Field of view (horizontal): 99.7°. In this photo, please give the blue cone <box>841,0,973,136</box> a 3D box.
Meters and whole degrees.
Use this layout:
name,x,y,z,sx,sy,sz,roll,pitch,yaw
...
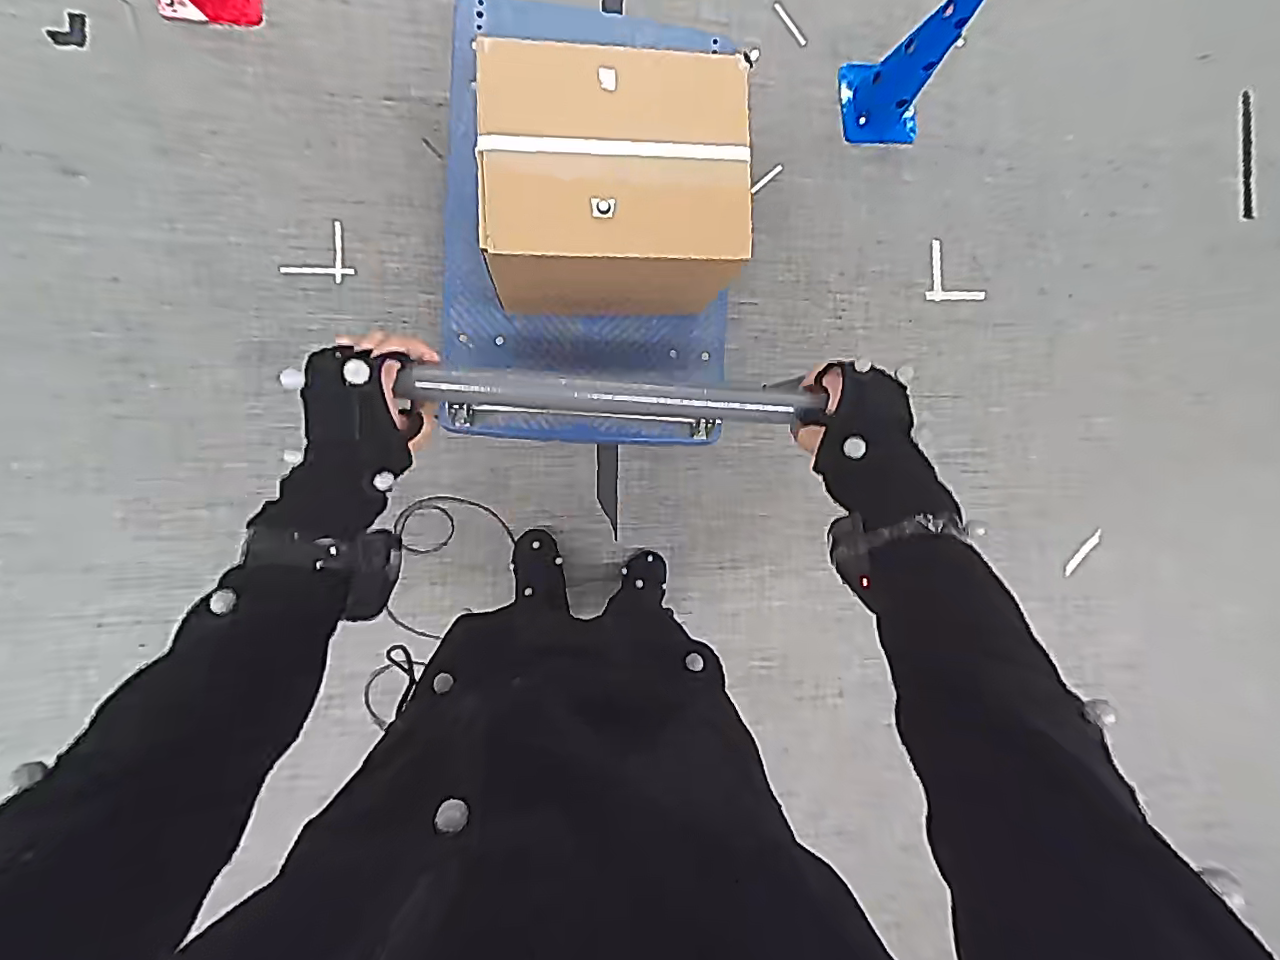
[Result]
name,x,y,z,sx,sy,sz,roll,pitch,yaw
blue cone,0.631,-0.972,1.215,0.193,0.380,0.192,-4,90,-9
